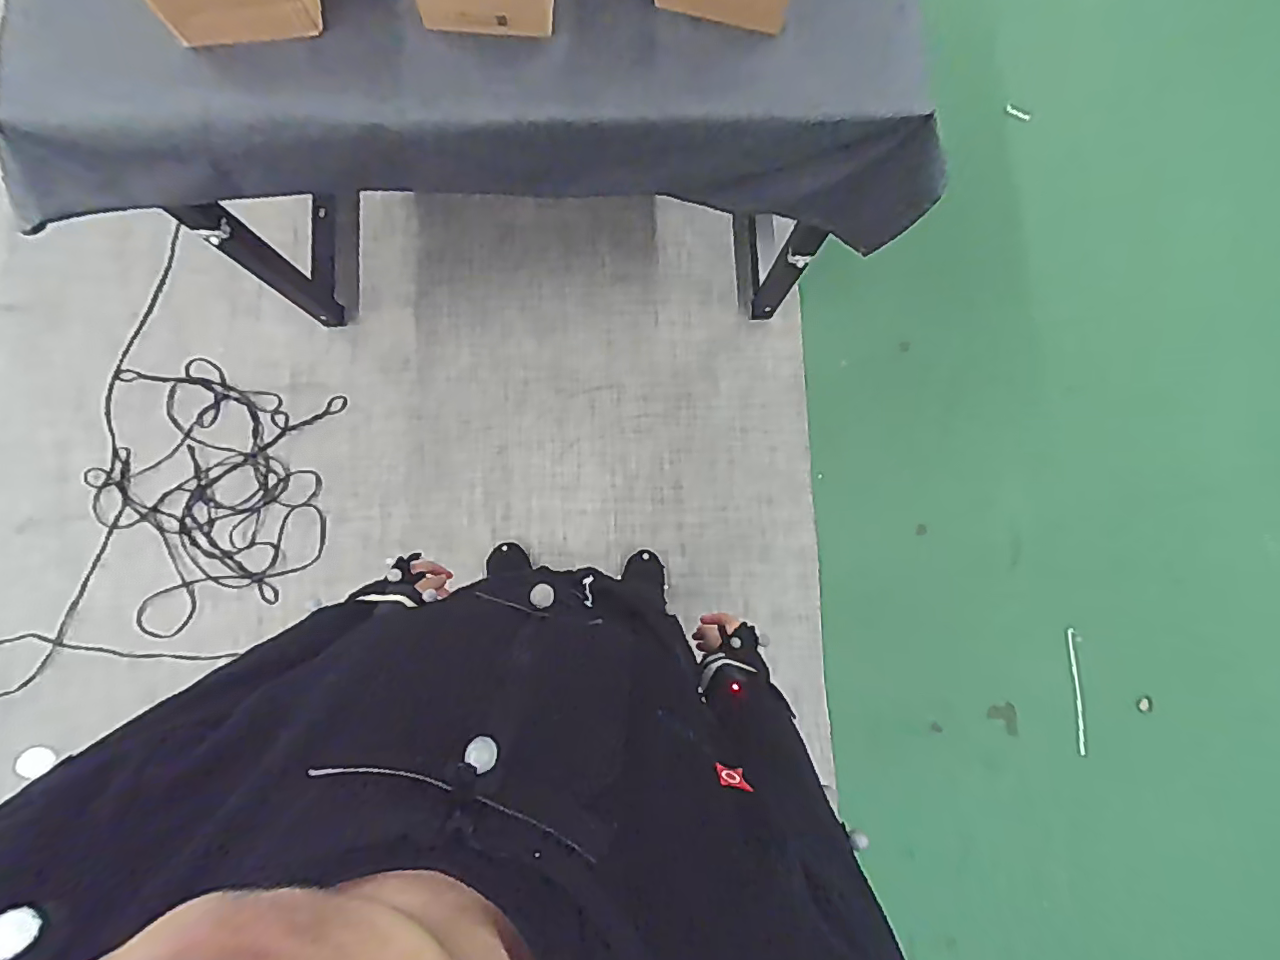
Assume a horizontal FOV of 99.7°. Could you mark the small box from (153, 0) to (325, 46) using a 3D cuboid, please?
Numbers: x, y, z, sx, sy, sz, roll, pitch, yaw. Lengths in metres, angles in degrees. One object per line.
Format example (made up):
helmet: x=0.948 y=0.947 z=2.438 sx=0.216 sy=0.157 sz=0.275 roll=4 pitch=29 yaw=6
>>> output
small box: x=-0.502 y=-0.651 z=0.628 sx=0.179 sy=0.176 sz=0.168 roll=-9 pitch=84 yaw=-5

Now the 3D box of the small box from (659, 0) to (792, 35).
small box: x=0.128 y=-0.704 z=0.667 sx=0.179 sy=0.176 sz=0.168 roll=12 pitch=82 yaw=0
